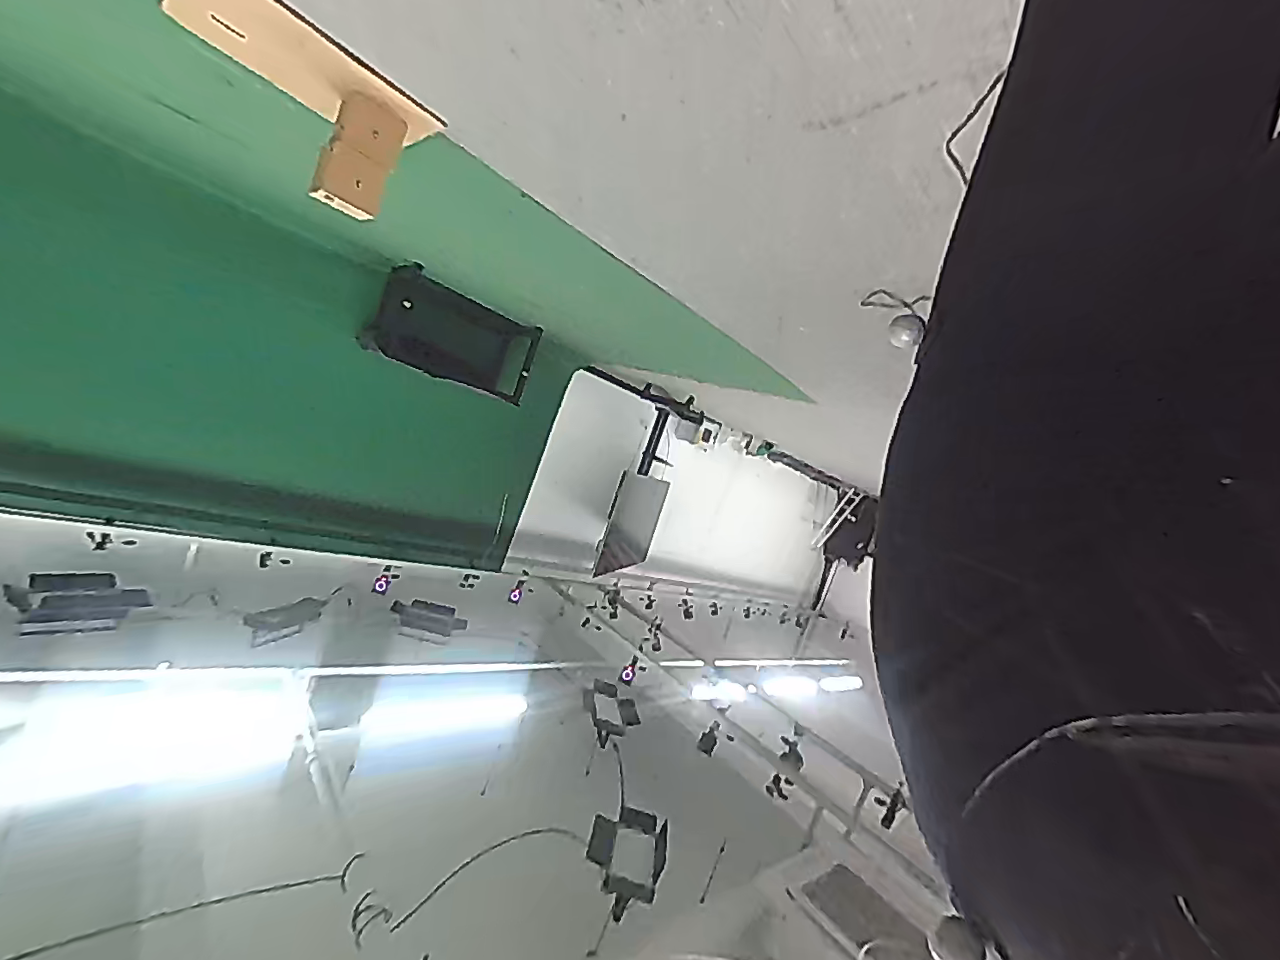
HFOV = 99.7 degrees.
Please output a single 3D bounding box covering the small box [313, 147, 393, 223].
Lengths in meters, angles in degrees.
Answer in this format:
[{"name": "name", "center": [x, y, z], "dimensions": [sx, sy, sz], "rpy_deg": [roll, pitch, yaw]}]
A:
[{"name": "small box", "center": [-0.980, -1.011, 1.850], "dimensions": [0.168, 0.176, 0.179], "rpy_deg": [22, -175, 42]}]
